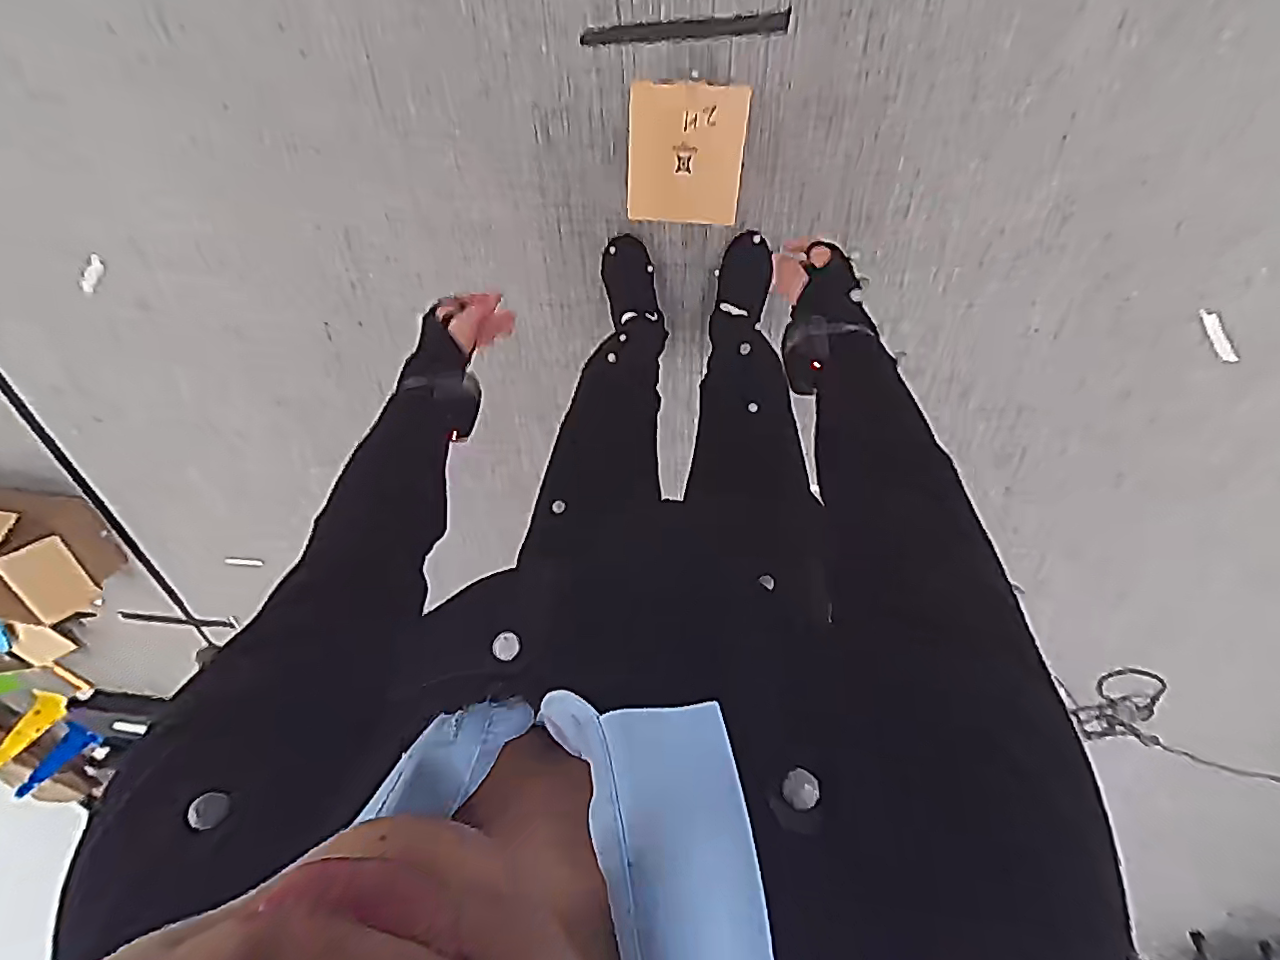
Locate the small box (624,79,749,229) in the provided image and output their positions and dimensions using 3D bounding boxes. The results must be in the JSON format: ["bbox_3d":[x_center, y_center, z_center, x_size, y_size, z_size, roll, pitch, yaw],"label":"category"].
[{"bbox_3d":[0.070,-0.505,0.834,0.168,0.176,0.179,6,126,3],"label":"small box"}]
